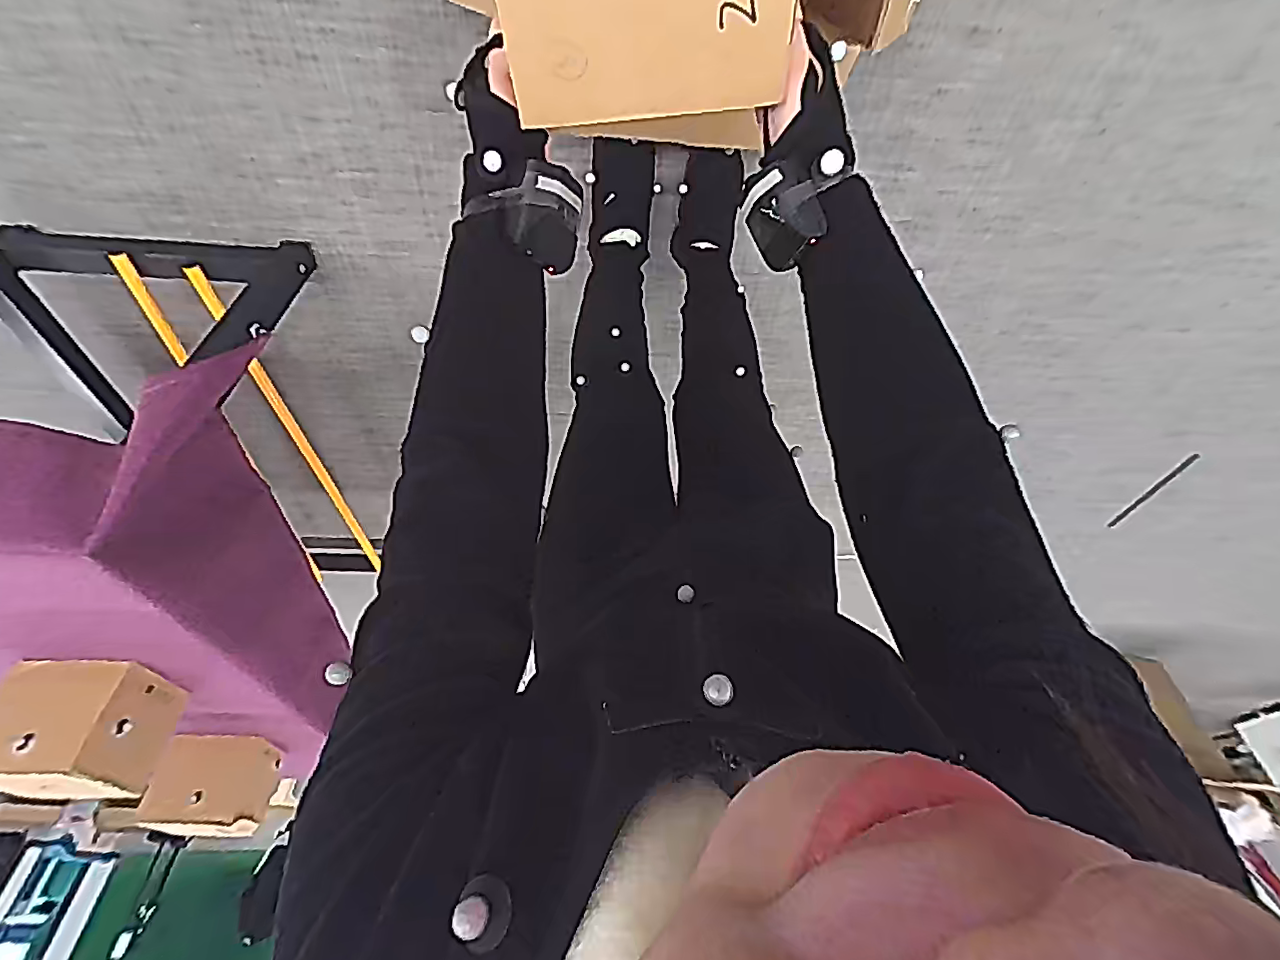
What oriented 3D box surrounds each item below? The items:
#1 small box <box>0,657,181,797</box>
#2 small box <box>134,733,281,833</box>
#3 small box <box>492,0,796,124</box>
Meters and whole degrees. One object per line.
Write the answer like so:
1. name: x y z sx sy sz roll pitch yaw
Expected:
1. small box: -0.887 0.393 0.860 0.179 0.176 0.168 2 140 -4
2. small box: -0.925 0.664 1.184 0.179 0.176 0.168 4 140 -6
3. small box: -0.003 -0.350 0.335 0.179 0.176 0.168 -6 144 0
